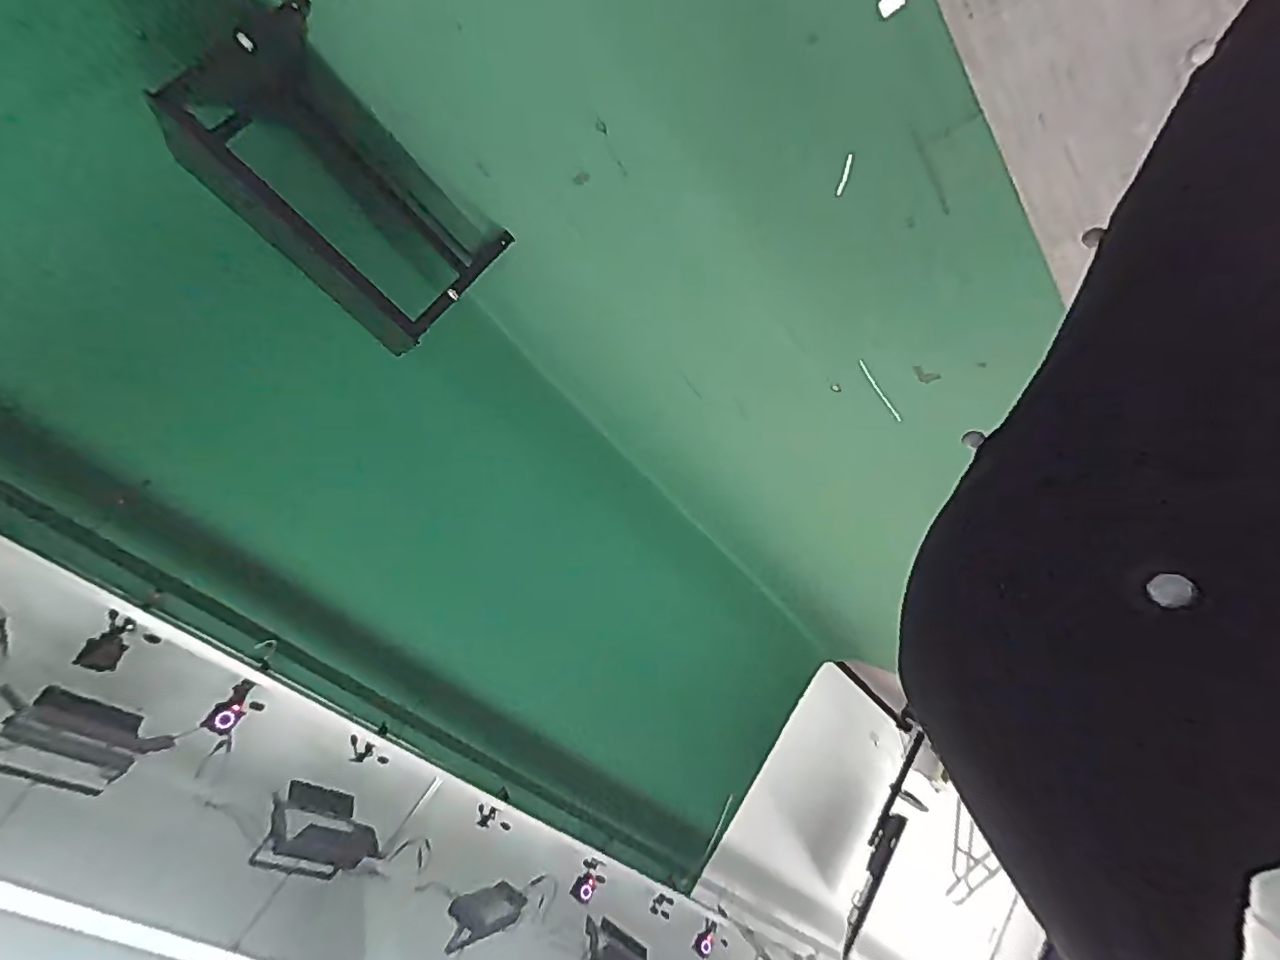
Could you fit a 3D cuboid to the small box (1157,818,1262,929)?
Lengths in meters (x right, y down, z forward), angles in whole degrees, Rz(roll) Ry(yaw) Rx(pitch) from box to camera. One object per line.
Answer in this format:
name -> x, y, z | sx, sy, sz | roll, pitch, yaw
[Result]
small box -> 1.613, 1.105, 1.528 | 0.179, 0.176, 0.168 | 44, 161, -26
